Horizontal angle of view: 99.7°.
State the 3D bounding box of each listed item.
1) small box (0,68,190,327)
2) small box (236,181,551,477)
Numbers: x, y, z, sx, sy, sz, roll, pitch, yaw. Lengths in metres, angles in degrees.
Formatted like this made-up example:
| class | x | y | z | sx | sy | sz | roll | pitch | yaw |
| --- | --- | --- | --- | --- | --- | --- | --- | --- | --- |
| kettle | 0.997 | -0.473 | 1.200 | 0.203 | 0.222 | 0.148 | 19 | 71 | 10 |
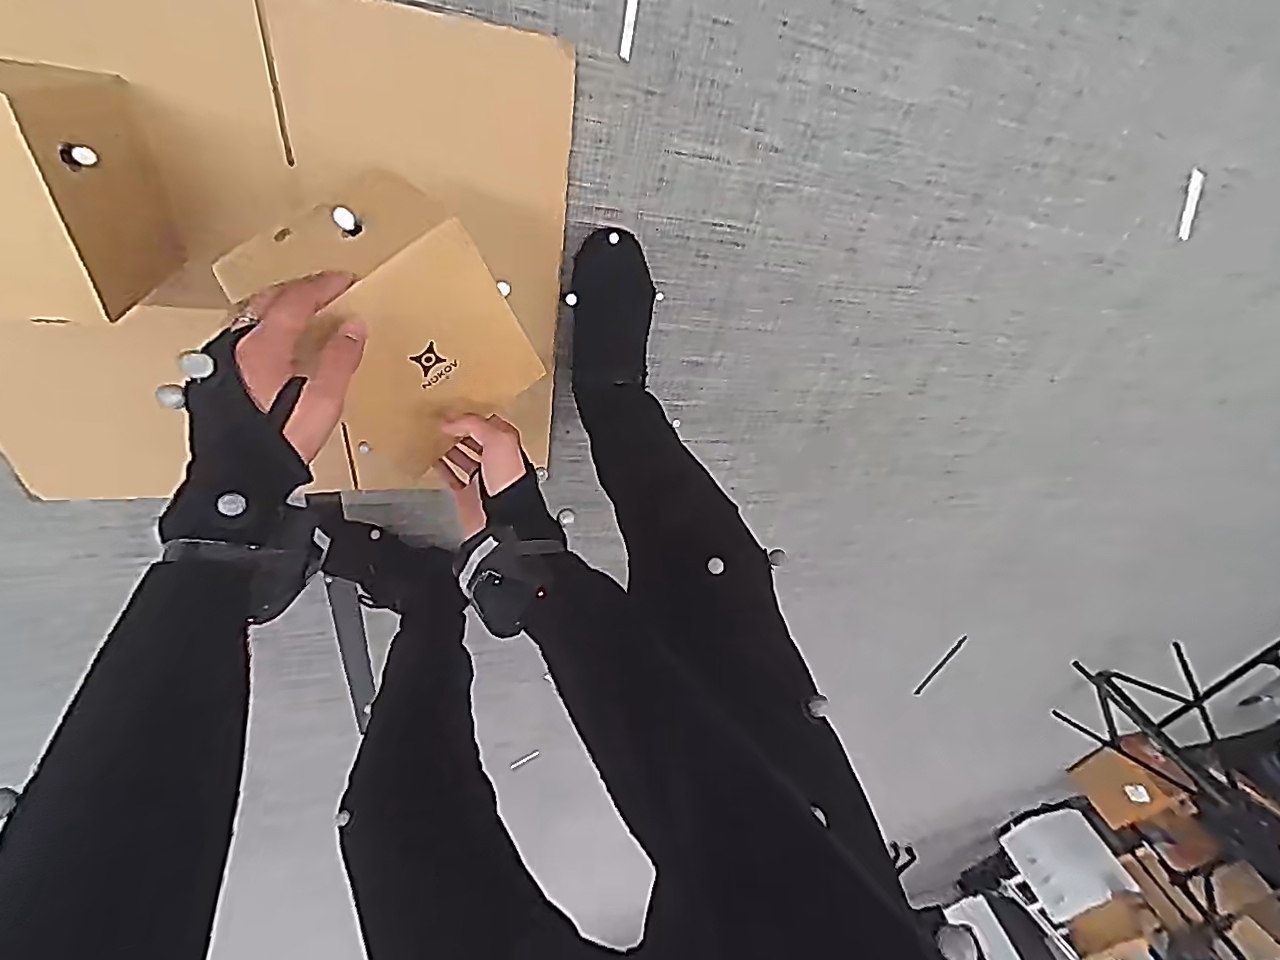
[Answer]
| class | x | y | z | sx | sy | sz | roll | pitch | yaw |
| --- | --- | --- | --- | --- | --- | --- | --- | --- | --- |
| small box | -0.550 | -0.255 | 0.478 | 0.168 | 0.176 | 0.179 | -1 | 129 | -16 |
| small box | -0.218 | -0.142 | 0.493 | 0.168 | 0.176 | 0.179 | -40 | 147 | -11 |
